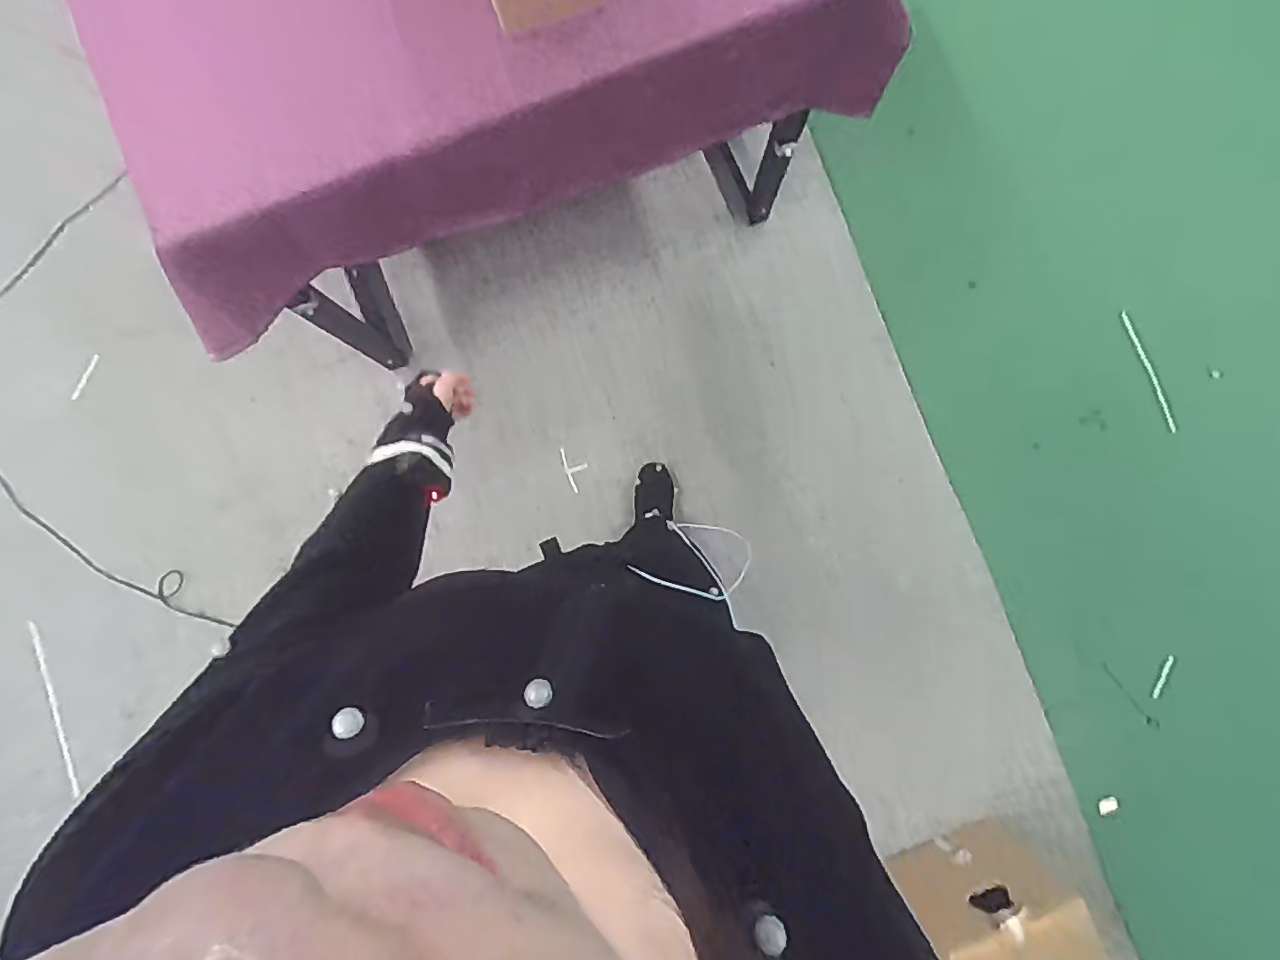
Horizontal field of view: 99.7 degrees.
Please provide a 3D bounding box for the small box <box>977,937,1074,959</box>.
[{"bbox_3d":[0.792,1.032,1.036,0.168,0.176,0.179,-18,87,-2],"label":"small box"}]

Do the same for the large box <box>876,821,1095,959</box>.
[{"bbox_3d":[0.831,1.129,1.273,0.320,0.320,0.408,-20,87,-2],"label":"large box"}]
